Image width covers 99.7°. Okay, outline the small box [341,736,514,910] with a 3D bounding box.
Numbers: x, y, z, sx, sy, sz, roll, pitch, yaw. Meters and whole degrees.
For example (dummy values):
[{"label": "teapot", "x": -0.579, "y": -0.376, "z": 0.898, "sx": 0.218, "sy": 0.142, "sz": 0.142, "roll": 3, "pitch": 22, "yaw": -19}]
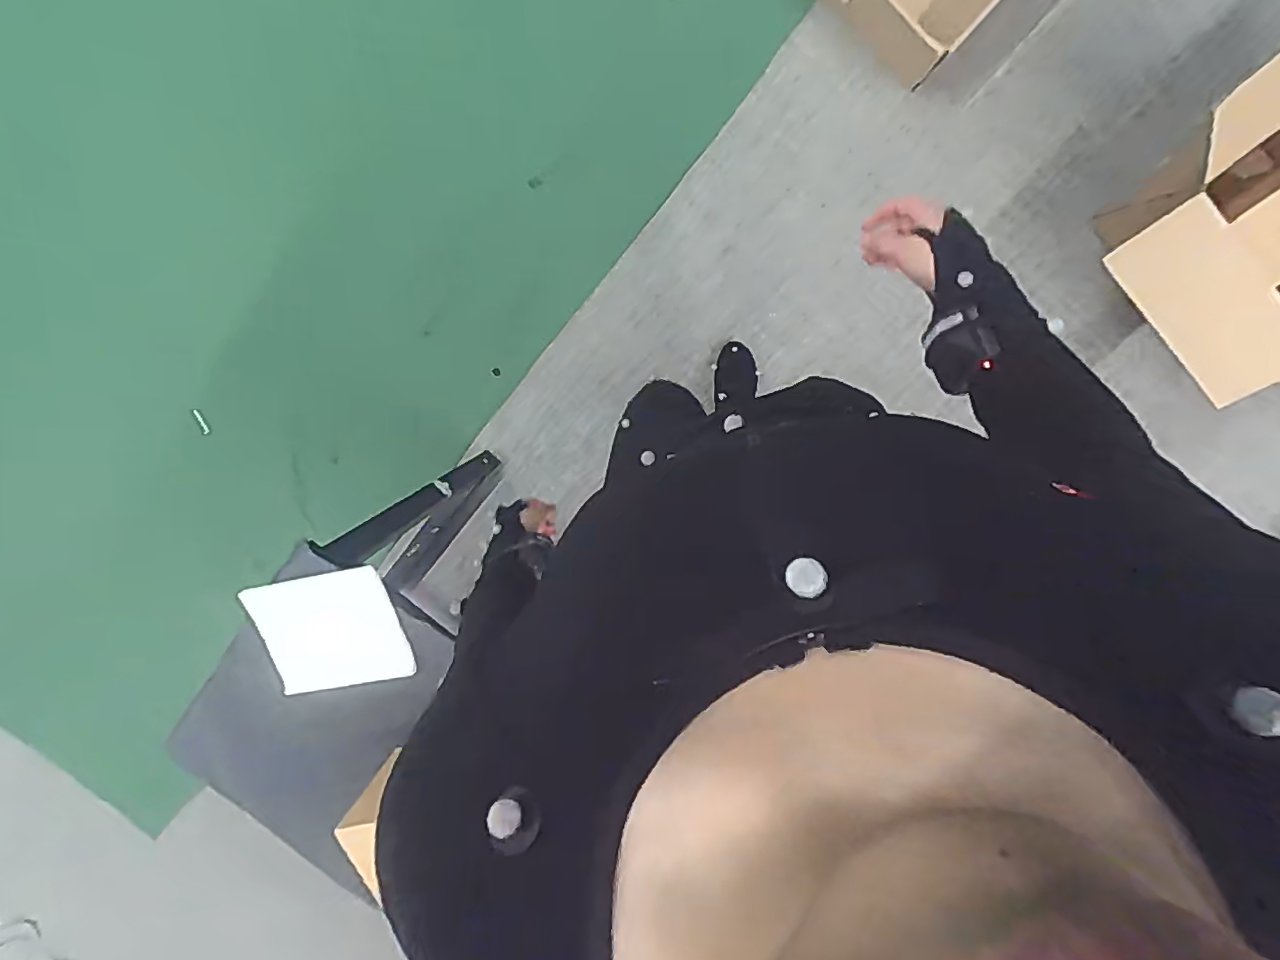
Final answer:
[{"label": "small box", "x": -0.332, "y": 0.546, "z": 0.882, "sx": 0.168, "sy": 0.176, "sz": 0.179, "roll": -18, "pitch": 105, "yaw": 13}]
